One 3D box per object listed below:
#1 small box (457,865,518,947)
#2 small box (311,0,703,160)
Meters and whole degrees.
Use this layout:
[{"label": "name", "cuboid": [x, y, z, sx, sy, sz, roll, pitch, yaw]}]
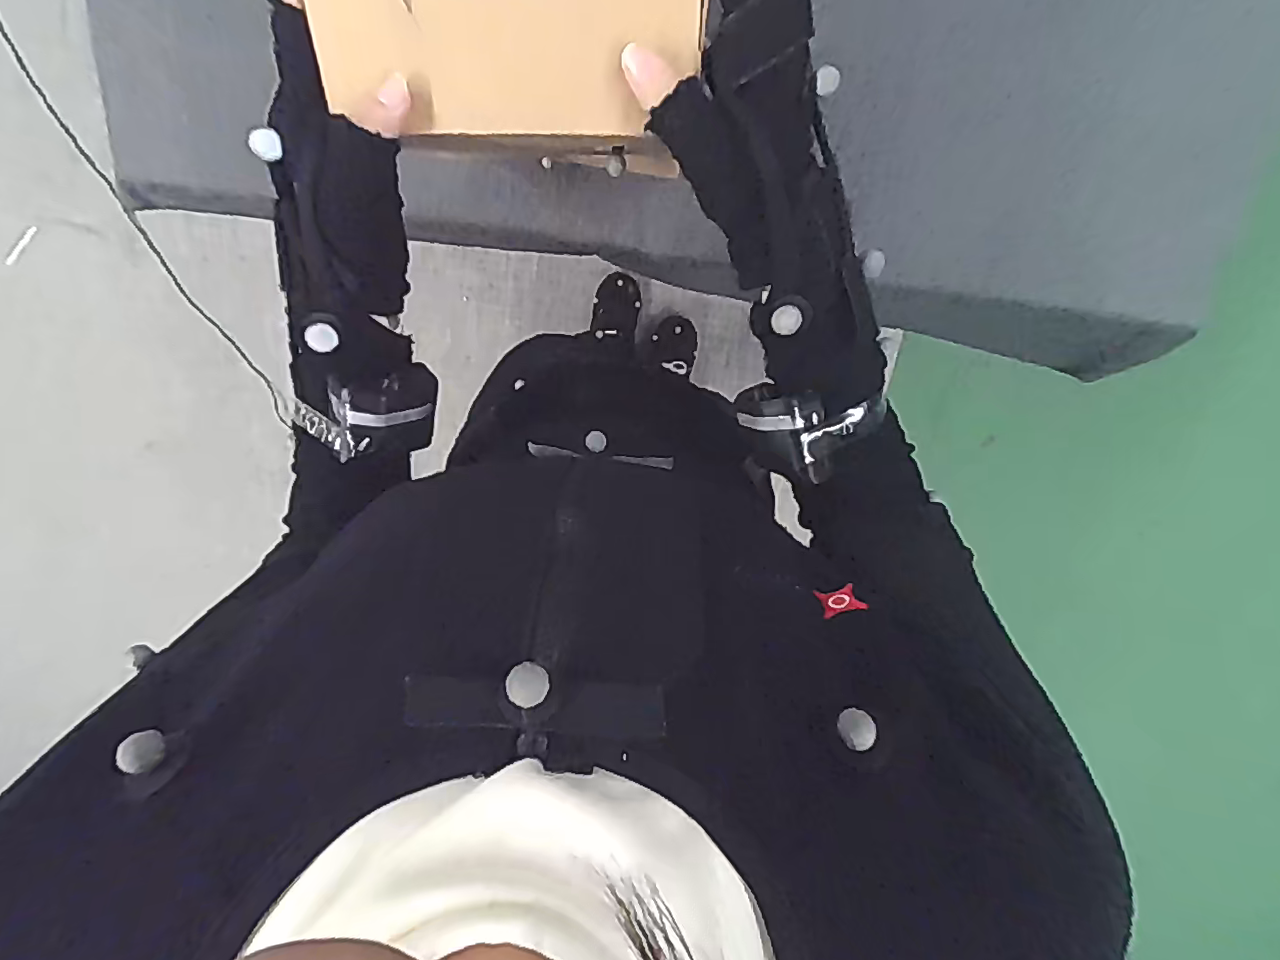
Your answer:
[{"label": "small box", "cuboid": [-0.546, 1.532, 1.951, 0.179, 0.176, 0.168, 7, 111, 2]}, {"label": "small box", "cuboid": [-0.059, -0.277, 0.294, 0.179, 0.176, 0.168, -1, 117, 2]}]
